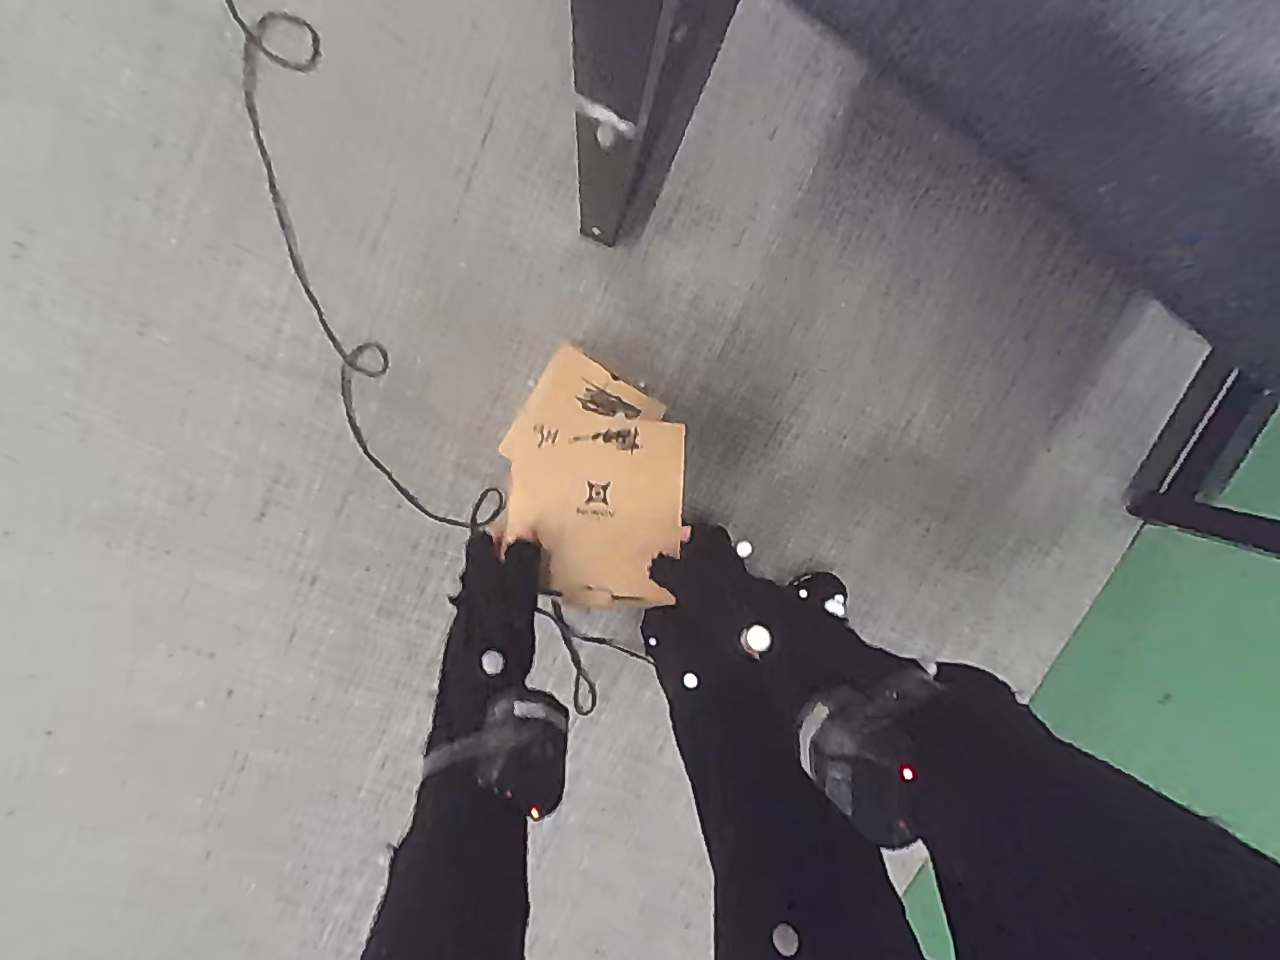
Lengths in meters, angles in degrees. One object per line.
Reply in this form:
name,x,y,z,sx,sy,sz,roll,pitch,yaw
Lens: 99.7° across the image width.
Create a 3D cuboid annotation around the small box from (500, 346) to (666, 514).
small box,-0.086,-0.081,0.809,0.168,0.176,0.179,32,98,-11
